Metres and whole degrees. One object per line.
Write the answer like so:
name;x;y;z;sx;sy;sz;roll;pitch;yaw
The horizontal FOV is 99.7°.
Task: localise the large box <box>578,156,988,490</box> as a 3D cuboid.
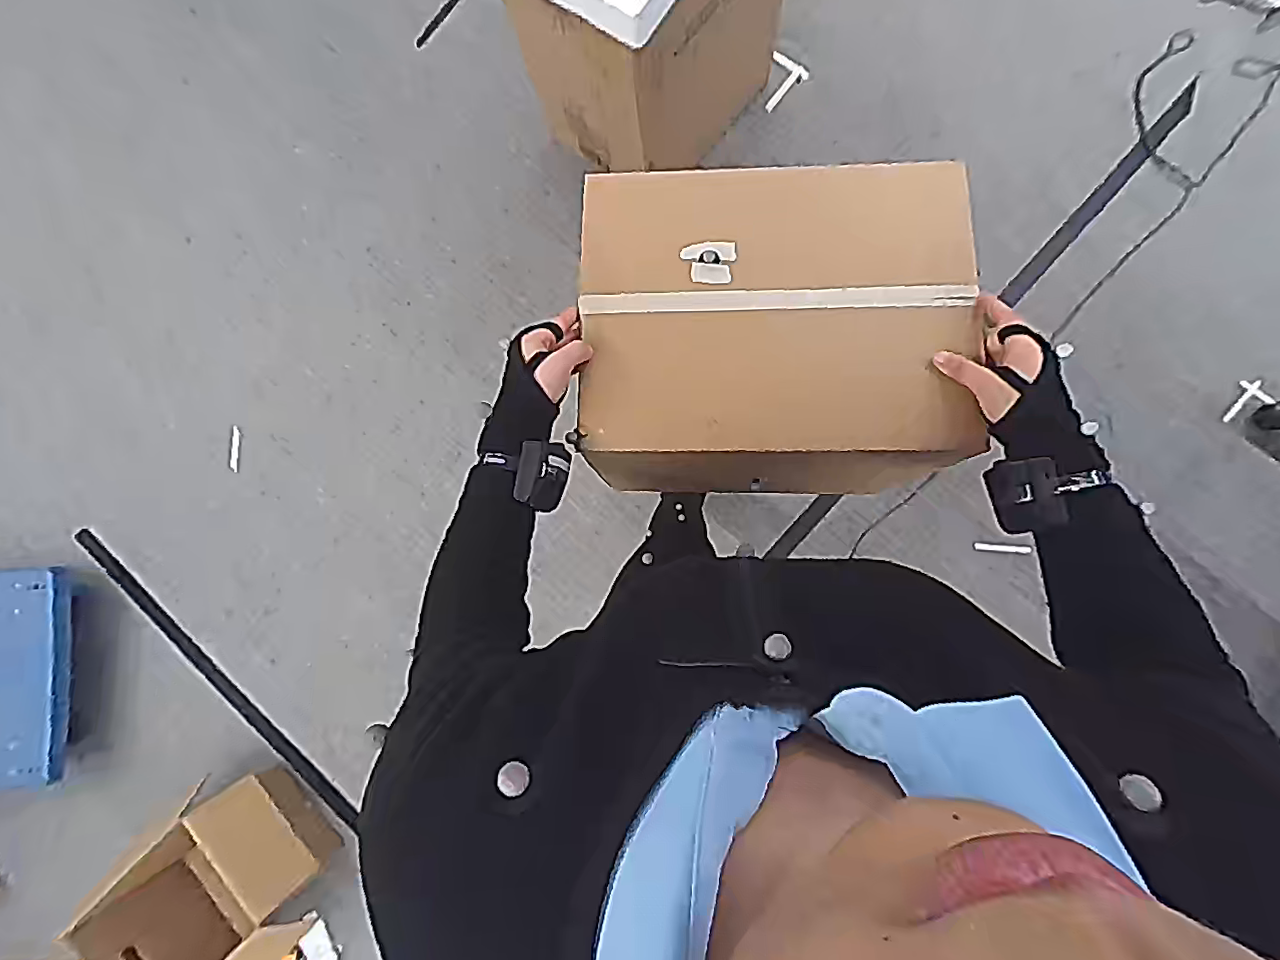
large box;0.149;-0.160;0.701;0.408;0.320;0.320;-1;80;5
